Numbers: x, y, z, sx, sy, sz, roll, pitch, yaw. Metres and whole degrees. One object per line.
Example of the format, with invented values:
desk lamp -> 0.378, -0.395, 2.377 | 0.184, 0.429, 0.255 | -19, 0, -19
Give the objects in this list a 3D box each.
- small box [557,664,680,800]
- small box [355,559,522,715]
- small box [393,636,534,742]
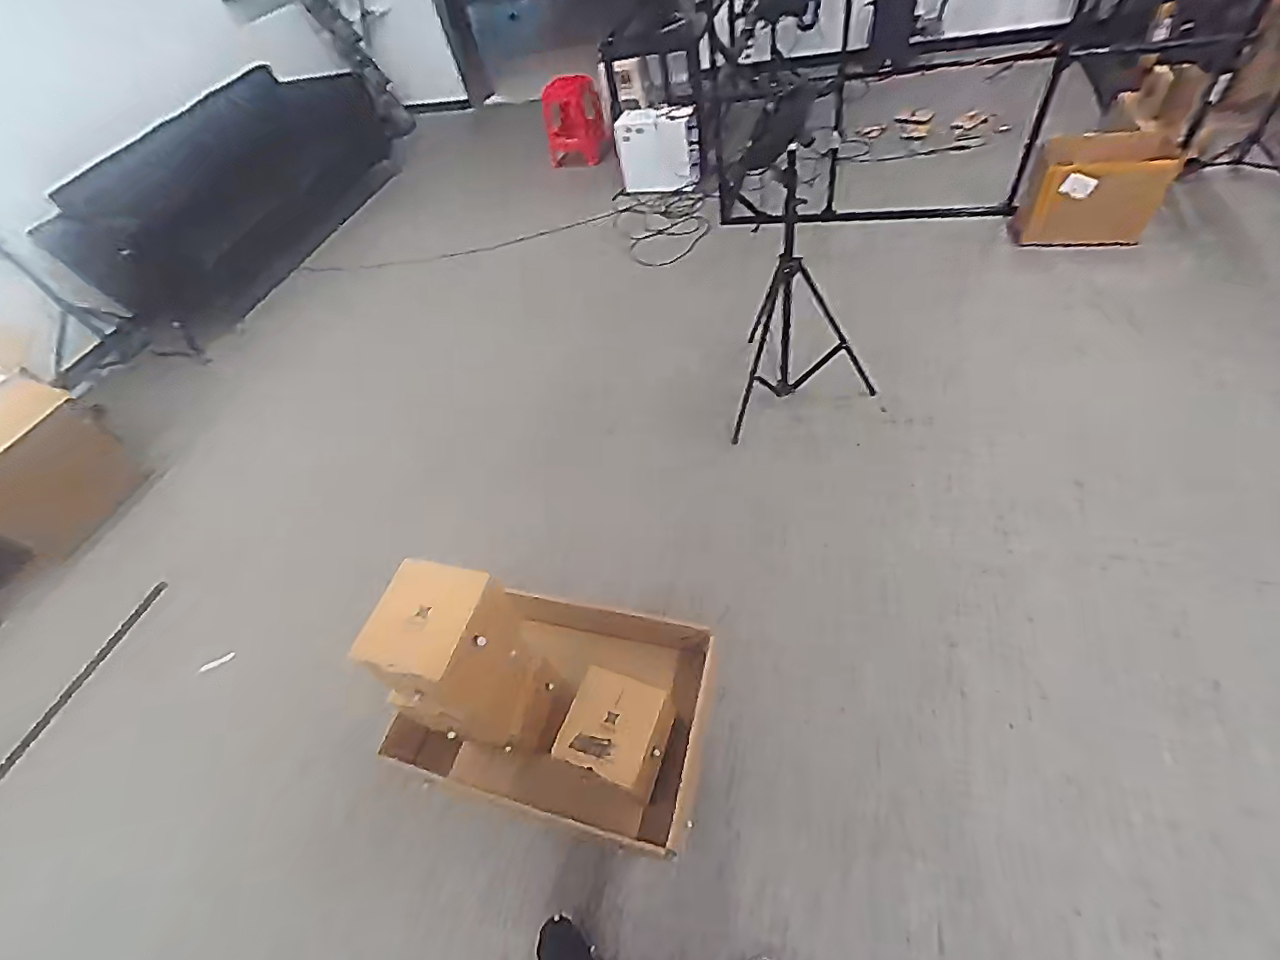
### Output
small box -> -0.031, 0.491, 1.046 | 0.168, 0.176, 0.179 | 11, 56, 22
small box -> -0.310, 0.256, 0.880 | 0.168, 0.176, 0.179 | 7, 54, 16
small box -> -0.313, 0.364, 1.005 | 0.168, 0.176, 0.179 | 4, 53, 14
